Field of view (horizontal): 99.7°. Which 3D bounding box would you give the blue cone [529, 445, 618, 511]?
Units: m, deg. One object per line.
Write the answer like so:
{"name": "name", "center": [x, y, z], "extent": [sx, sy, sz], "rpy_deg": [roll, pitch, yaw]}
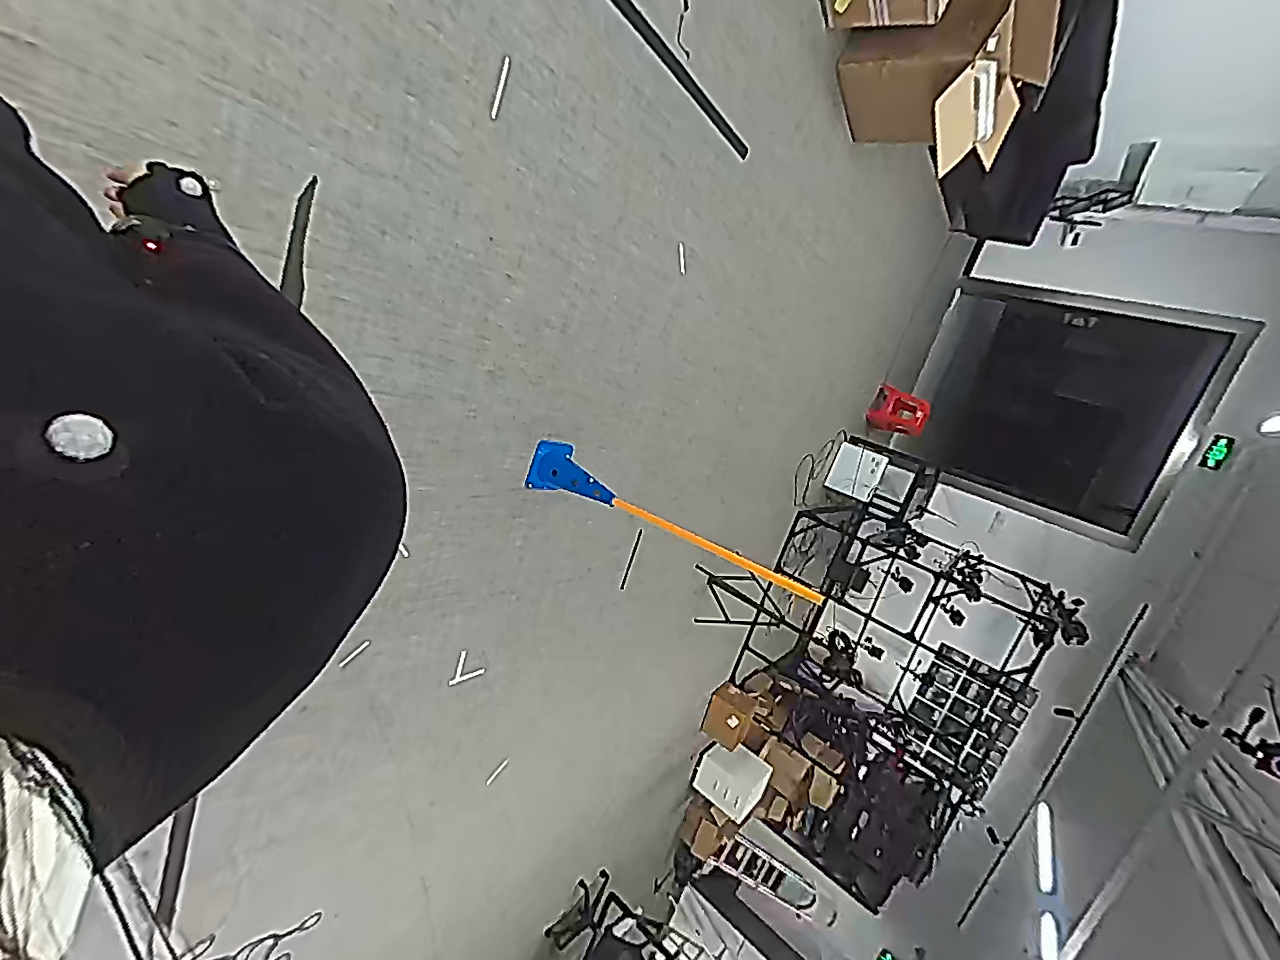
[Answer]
{"name": "blue cone", "center": [-0.229, 0.017, 2.055], "extent": [0.193, 0.380, 0.192], "rpy_deg": [8, 106, -56]}
